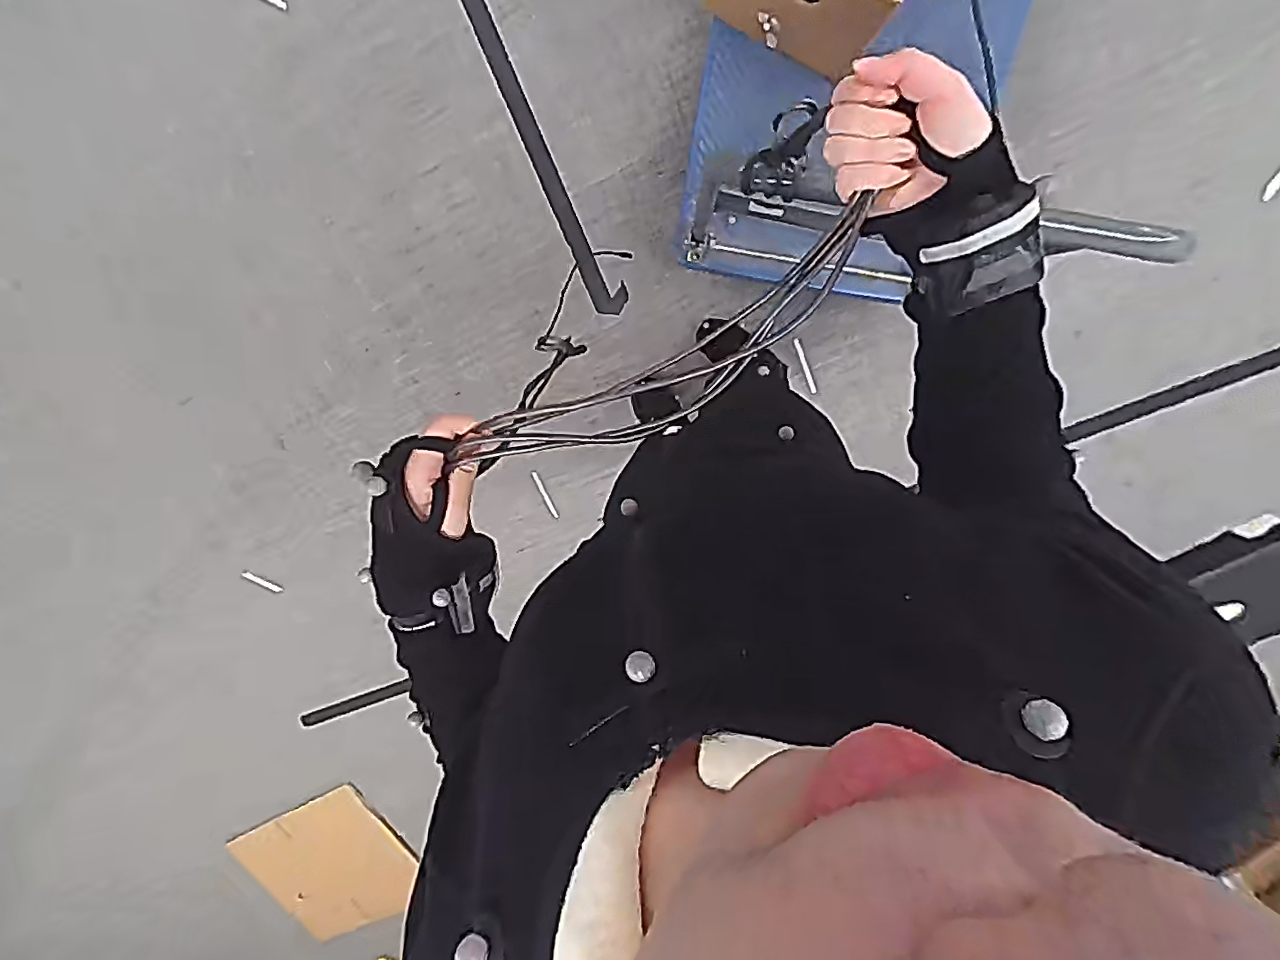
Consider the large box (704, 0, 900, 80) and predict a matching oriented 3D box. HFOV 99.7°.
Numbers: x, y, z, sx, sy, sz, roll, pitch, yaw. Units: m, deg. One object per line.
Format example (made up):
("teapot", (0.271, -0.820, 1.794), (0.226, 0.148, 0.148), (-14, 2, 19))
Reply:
("large box", (0.323, -0.957, 0.840), (0.320, 0.320, 0.408), (25, 108, -5))
